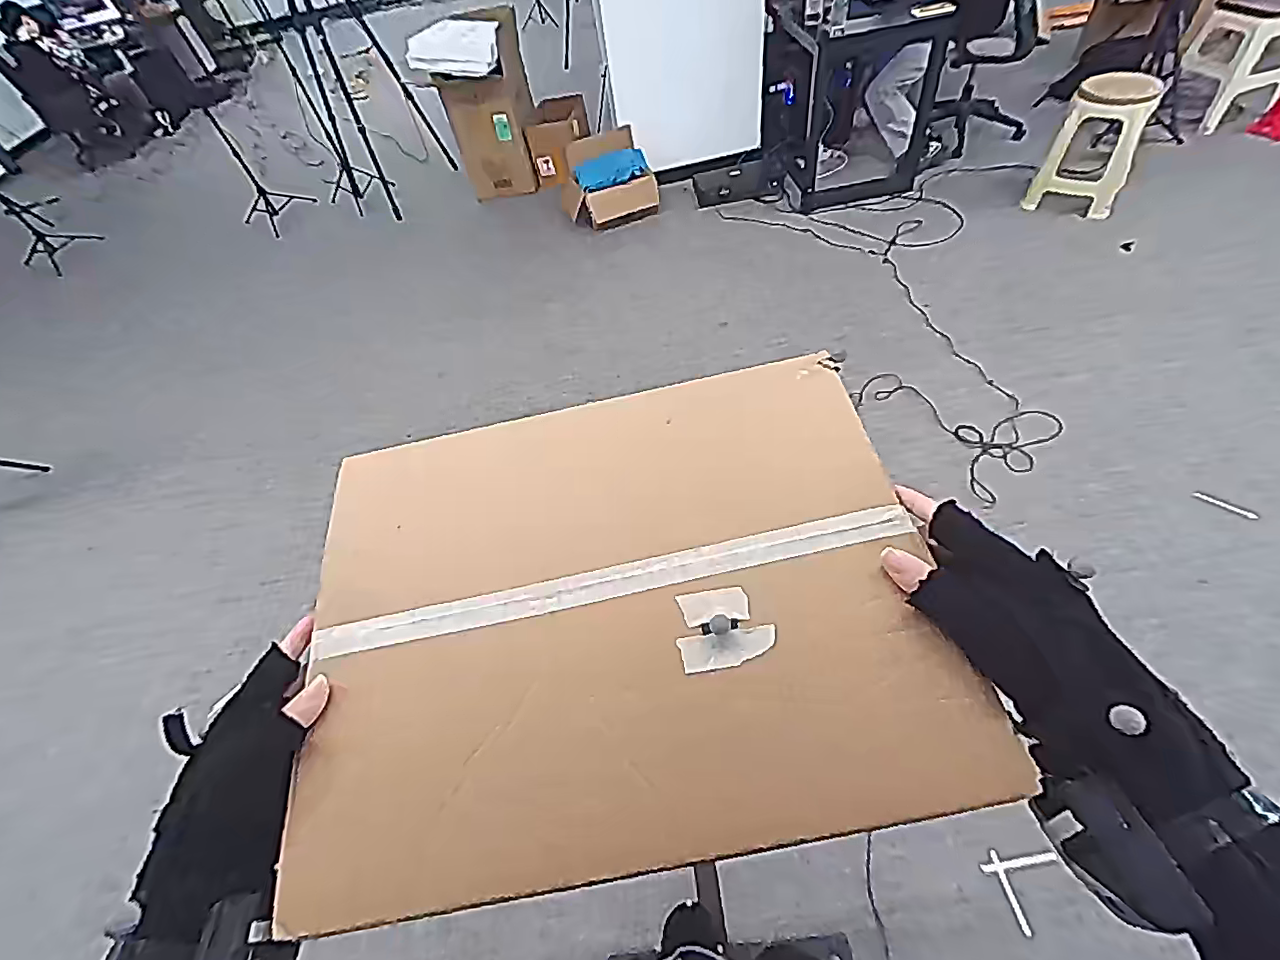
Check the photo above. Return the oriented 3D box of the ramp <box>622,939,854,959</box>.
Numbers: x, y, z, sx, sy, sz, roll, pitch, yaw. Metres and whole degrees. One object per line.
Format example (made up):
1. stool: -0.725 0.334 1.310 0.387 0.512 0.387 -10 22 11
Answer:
1. ramp: 0.201 1.278 0.721 0.509 0.206 0.991 -10 50 4

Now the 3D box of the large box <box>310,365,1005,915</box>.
1. large box: 0.000 0.148 0.501 0.408 0.320 0.320 -12 59 1
